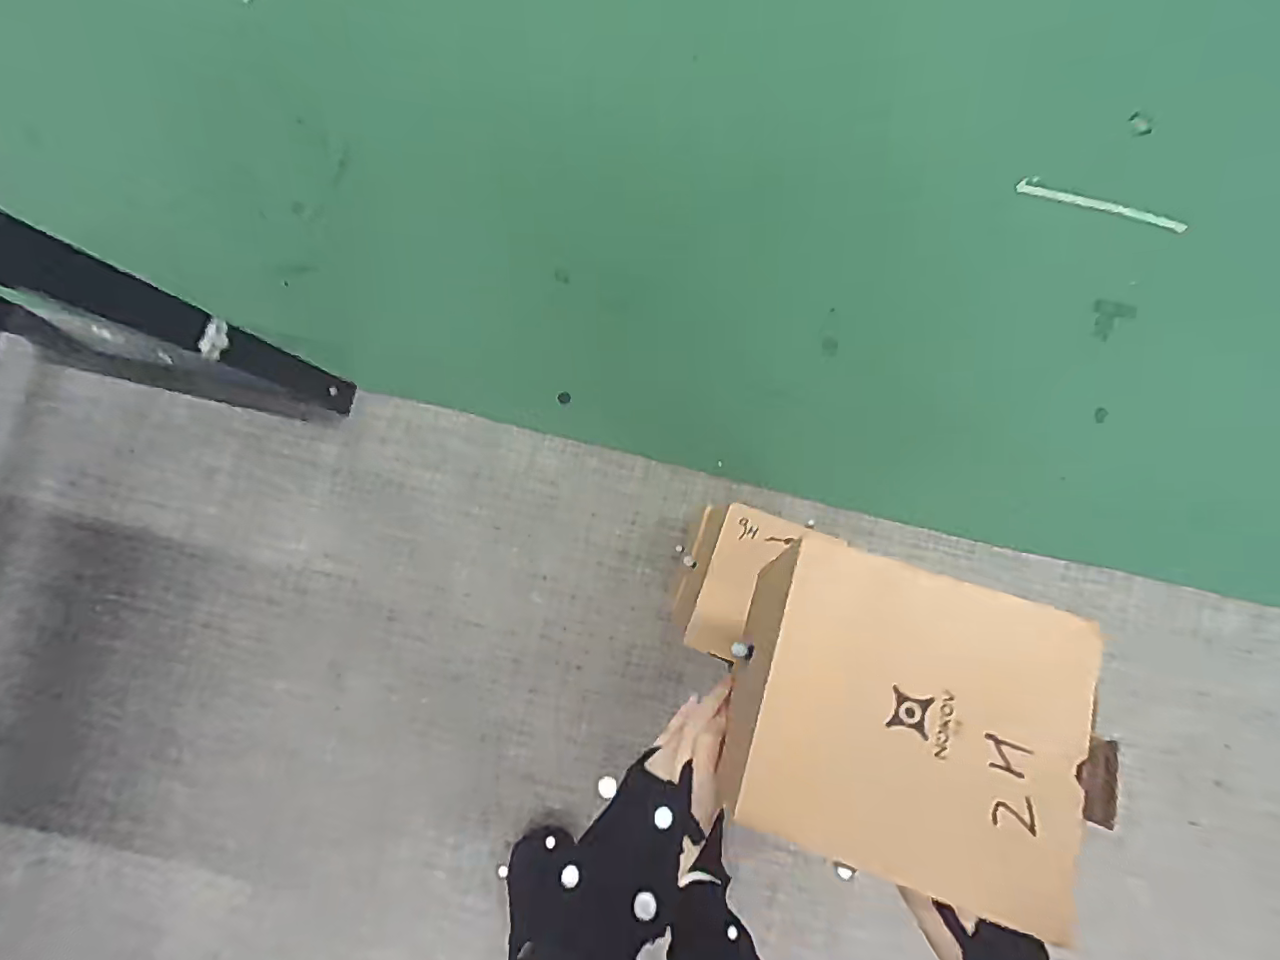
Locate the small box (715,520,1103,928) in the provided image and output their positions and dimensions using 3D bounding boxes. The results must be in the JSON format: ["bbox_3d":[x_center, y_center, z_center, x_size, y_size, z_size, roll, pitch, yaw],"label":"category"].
[{"bbox_3d":[0.158,0.145,0.372,0.179,0.176,0.168,17,76,7],"label":"small box"}]

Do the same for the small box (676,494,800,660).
[{"bbox_3d":[0.148,0.130,0.681,0.168,0.176,0.179,20,86,2],"label":"small box"}]
